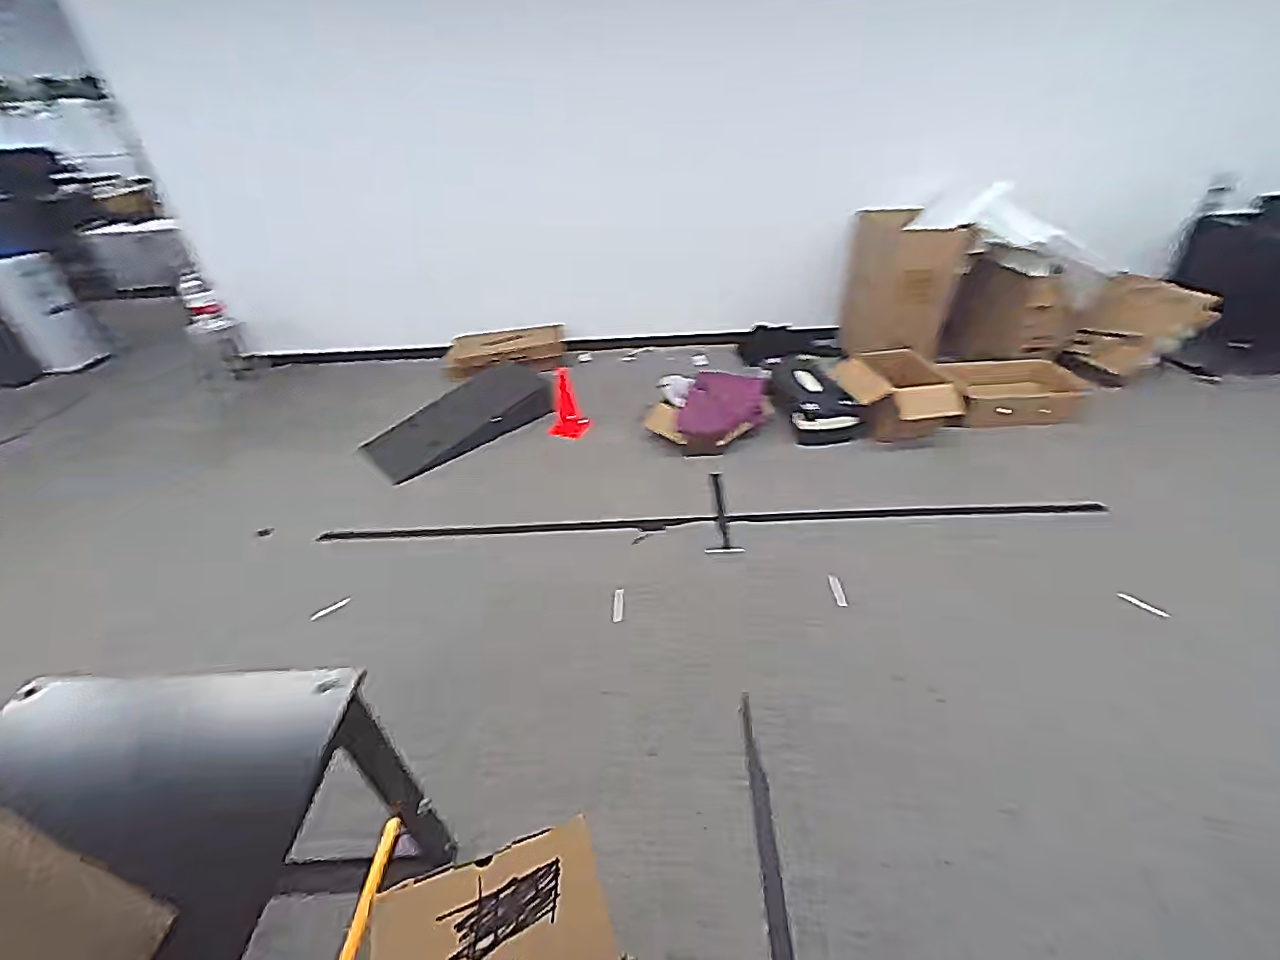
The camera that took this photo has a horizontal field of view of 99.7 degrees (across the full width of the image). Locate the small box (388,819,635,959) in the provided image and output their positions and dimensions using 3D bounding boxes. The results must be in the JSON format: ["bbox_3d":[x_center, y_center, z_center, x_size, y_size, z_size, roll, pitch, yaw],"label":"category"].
[{"bbox_3d":[-0.087,0.404,0.419,0.168,0.176,0.179,-12,48,-14],"label":"small box"}]
